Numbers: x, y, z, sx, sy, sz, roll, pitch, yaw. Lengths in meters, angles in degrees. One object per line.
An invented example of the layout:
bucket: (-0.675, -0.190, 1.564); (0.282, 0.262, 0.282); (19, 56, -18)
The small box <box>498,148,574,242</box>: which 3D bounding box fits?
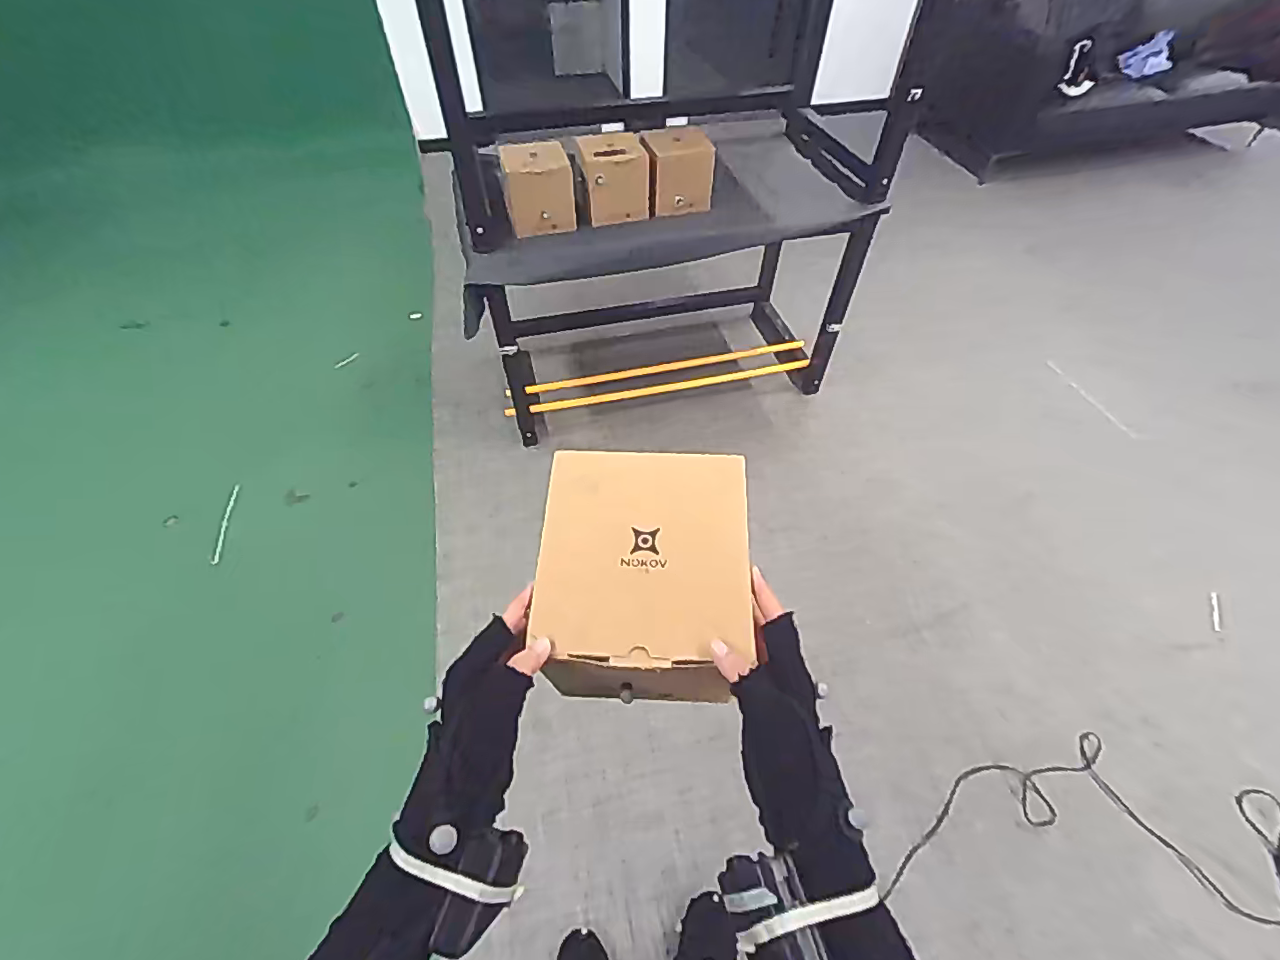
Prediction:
small box: (-0.279, -0.768, 1.458); (0.168, 0.176, 0.179); (-12, 52, -11)
